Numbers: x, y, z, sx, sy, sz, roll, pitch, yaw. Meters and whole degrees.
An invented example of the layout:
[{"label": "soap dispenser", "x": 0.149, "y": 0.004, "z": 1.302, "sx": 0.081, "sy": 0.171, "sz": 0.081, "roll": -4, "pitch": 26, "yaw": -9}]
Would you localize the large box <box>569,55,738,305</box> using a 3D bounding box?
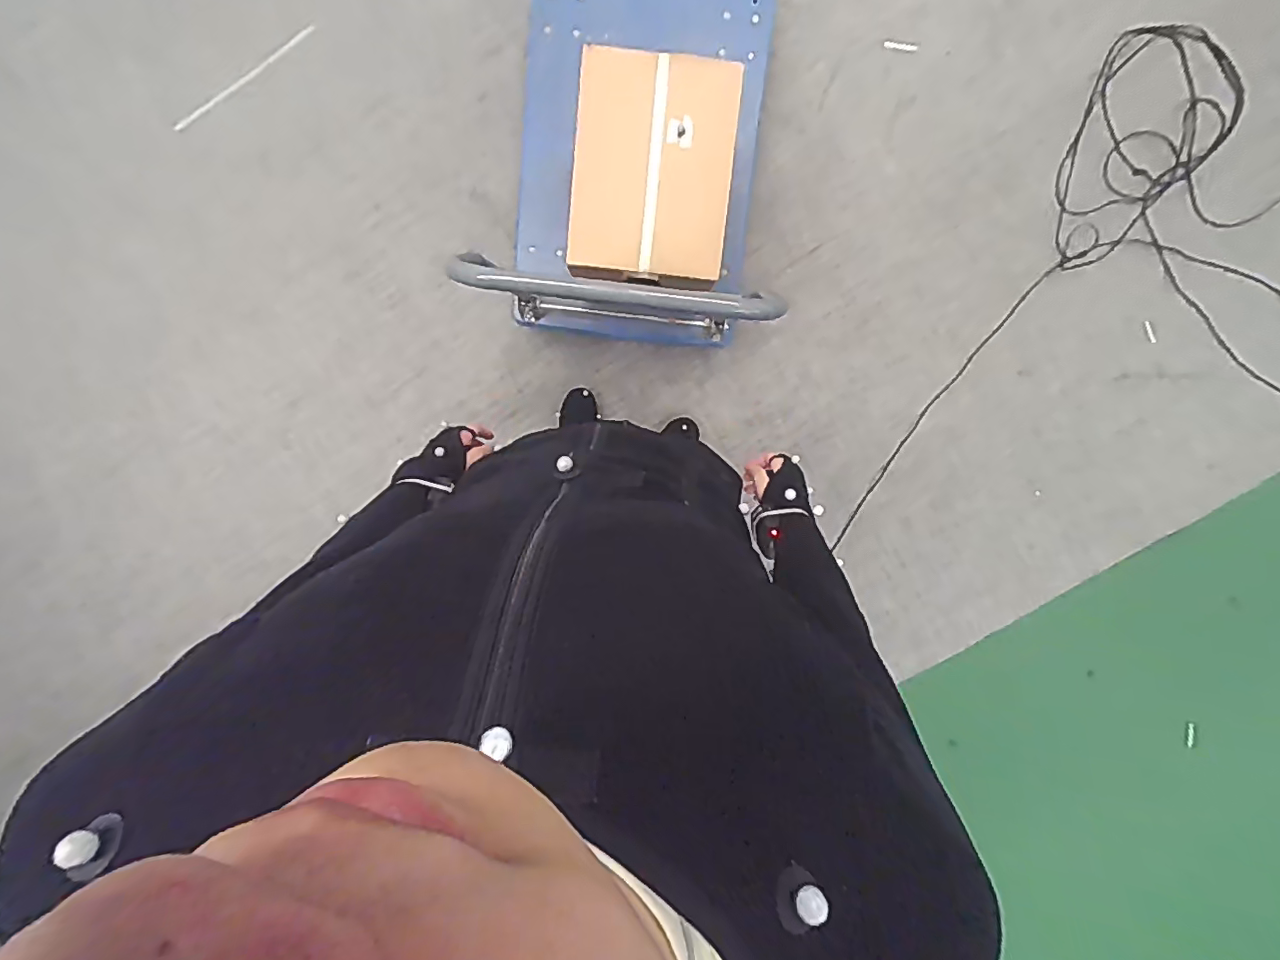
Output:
[{"label": "large box", "x": 0.023, "y": -0.640, "z": 1.230, "sx": 0.320, "sy": 0.320, "sz": 0.408, "roll": 6, "pitch": 98, "yaw": -3}]
